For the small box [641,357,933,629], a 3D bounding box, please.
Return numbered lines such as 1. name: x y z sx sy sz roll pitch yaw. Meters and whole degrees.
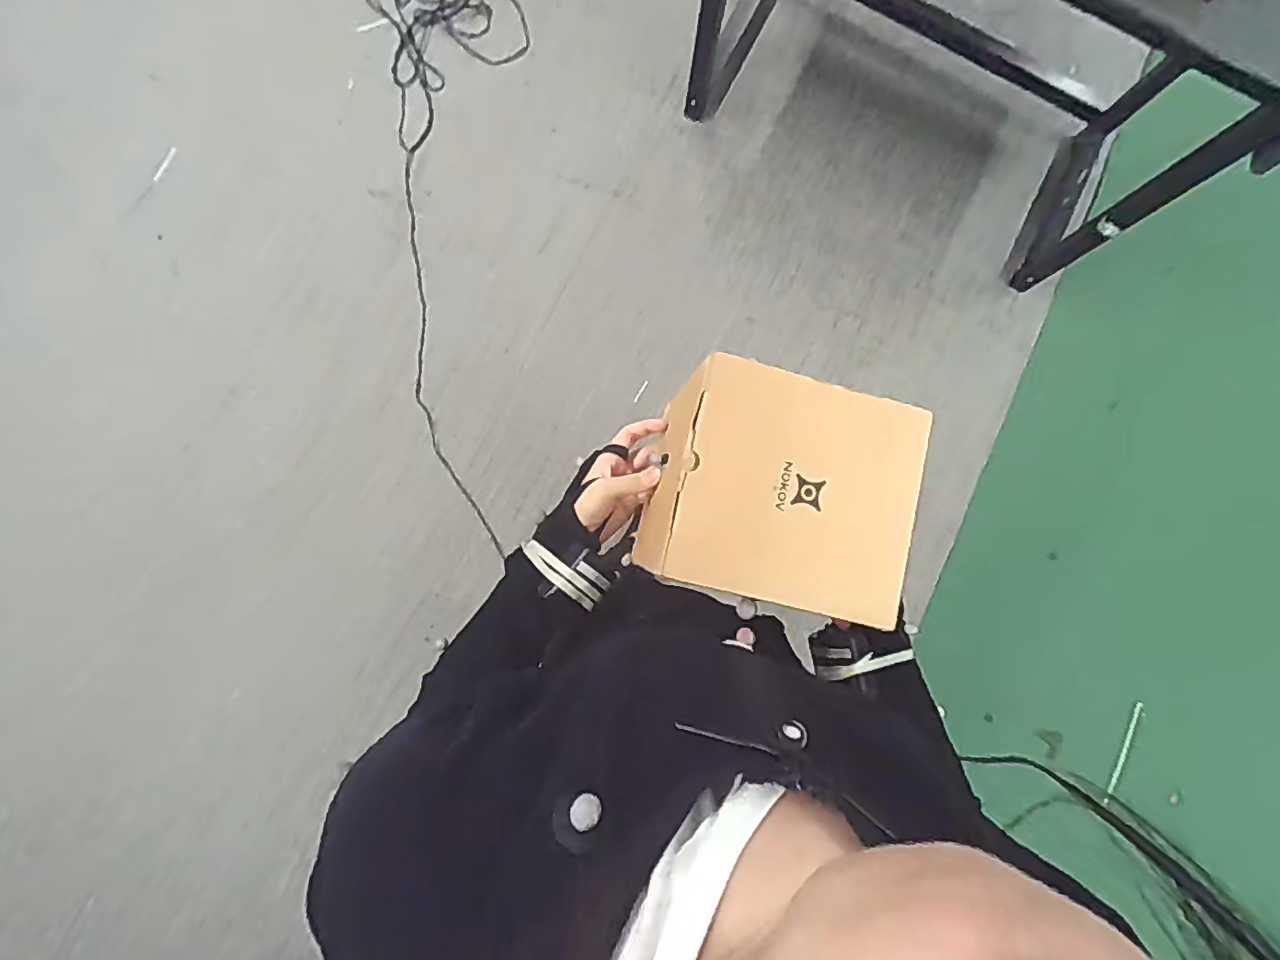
1. small box: 0.109 0.015 0.469 0.179 0.176 0.168 14 84 -5
